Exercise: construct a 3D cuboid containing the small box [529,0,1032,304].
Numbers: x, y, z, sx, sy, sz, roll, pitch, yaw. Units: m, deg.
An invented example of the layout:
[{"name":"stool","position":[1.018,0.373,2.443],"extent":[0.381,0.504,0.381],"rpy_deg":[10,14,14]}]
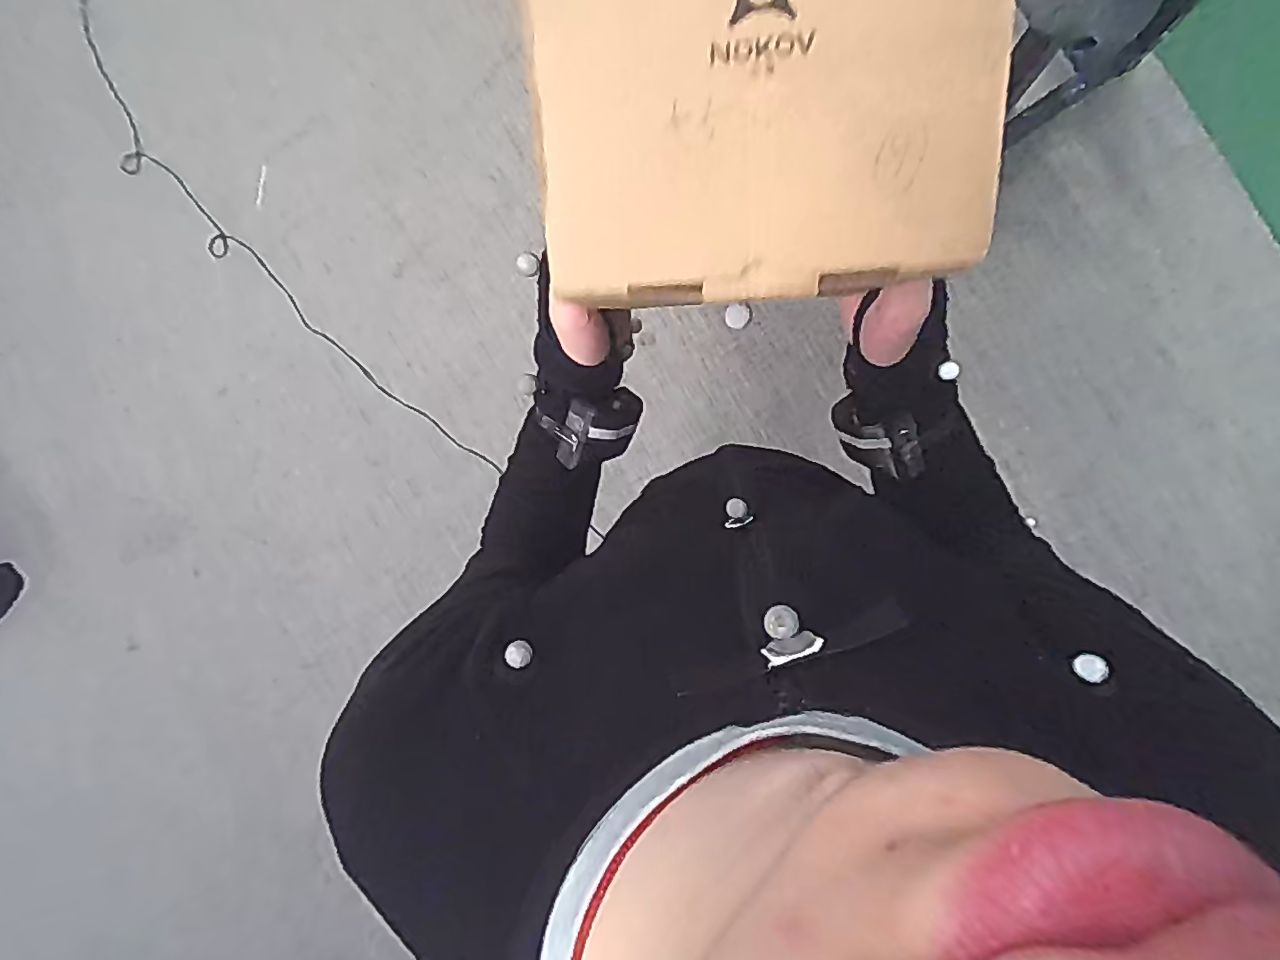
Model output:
[{"name":"small box","position":[0.049,-0.178,0.256],"extent":[0.168,0.176,0.179],"rpy_deg":[-3,105,3]}]
